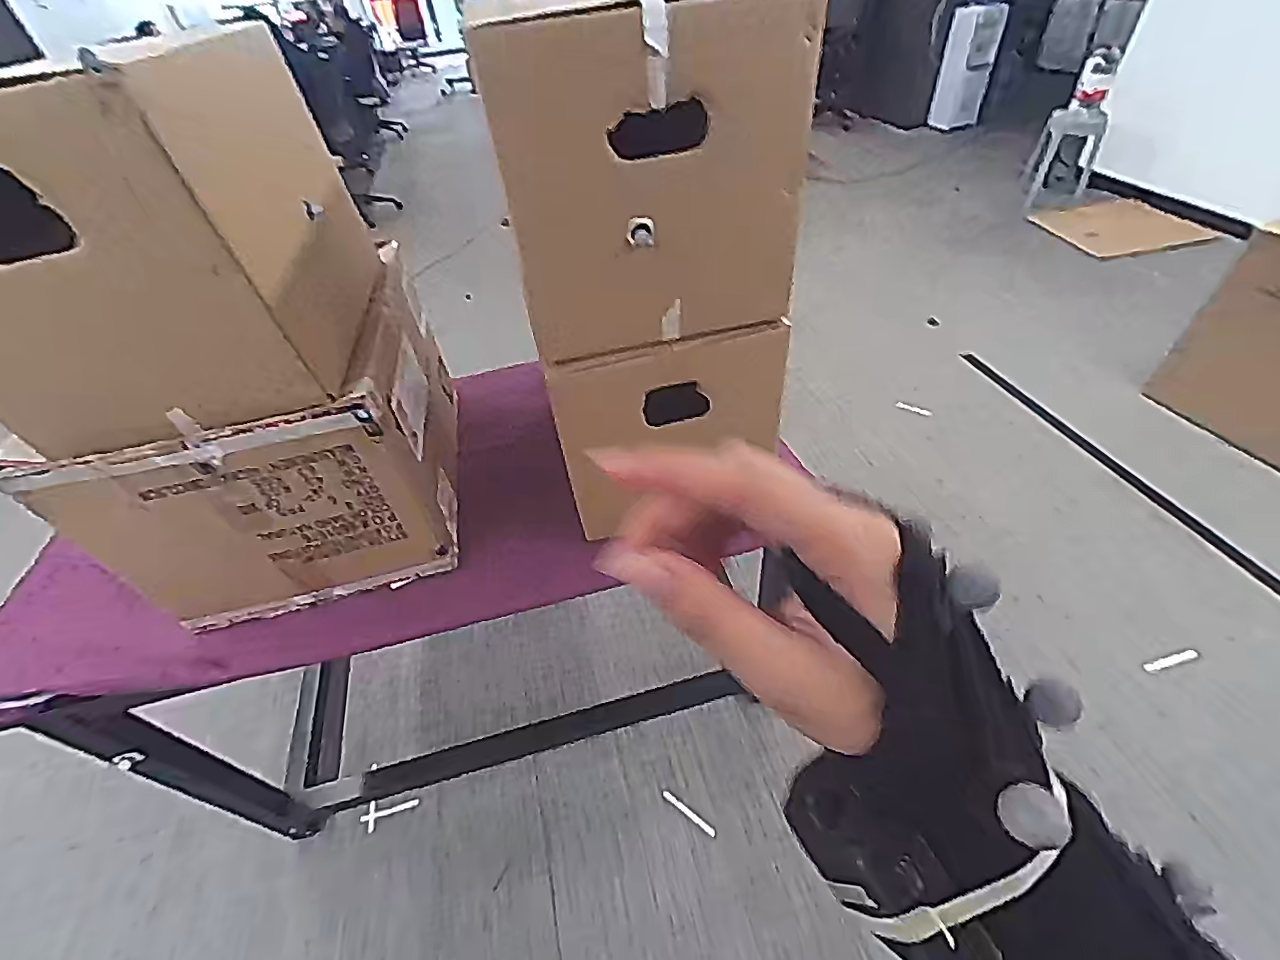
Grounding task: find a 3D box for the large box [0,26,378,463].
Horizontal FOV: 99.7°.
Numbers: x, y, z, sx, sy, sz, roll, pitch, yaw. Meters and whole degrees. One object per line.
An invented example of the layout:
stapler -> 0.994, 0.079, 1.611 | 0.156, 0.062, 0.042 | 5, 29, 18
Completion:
large box -> -0.541, -0.288, 0.631 | 0.320, 0.320, 0.408 | -16, 46, -3
